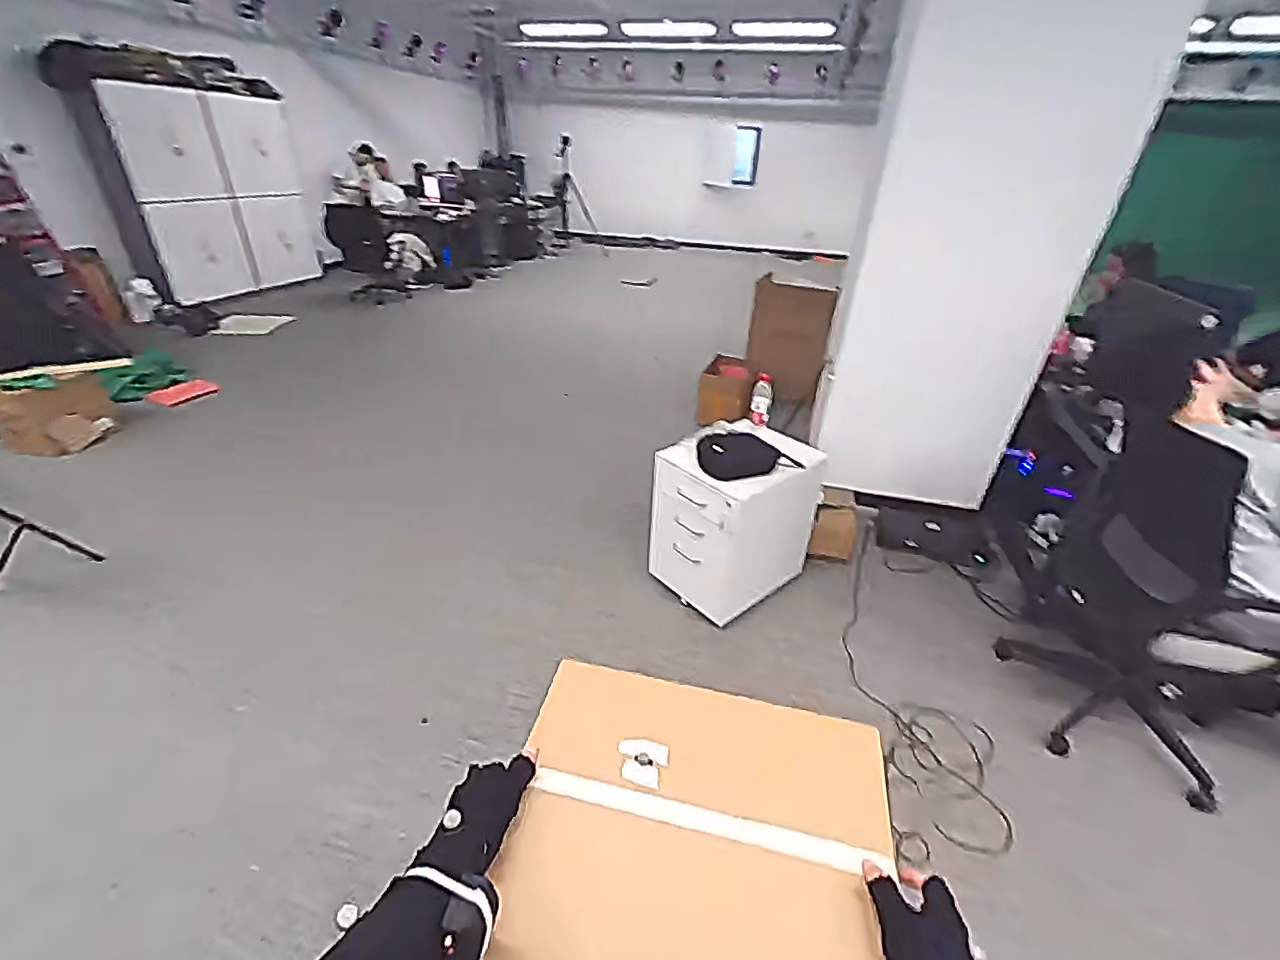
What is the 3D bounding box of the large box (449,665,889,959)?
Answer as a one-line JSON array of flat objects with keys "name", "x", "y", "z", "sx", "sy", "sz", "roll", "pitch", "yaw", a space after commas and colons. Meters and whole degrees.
[{"name": "large box", "x": 0.049, "y": 0.482, "z": 0.670, "sx": 0.408, "sy": 0.320, "sz": 0.320, "roll": 8, "pitch": 37, "yaw": 10}]
